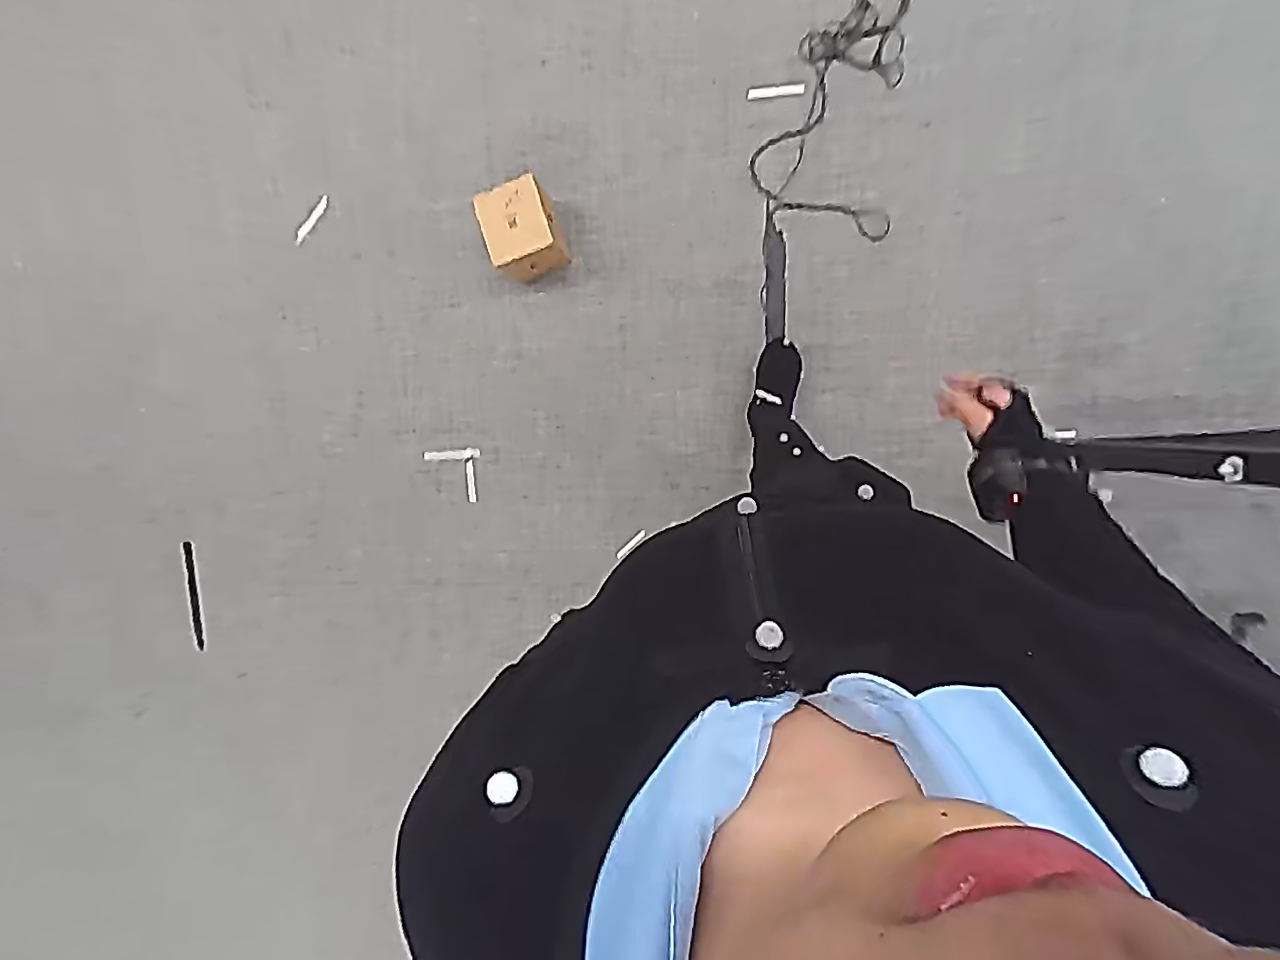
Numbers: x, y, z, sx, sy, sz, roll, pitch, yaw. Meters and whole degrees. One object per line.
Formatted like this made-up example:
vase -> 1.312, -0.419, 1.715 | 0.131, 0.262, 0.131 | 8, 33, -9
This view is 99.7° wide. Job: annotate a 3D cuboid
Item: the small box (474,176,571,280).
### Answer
small box -> -0.295, -0.635, 1.392 | 0.168, 0.176, 0.179 | -17, 93, 10
